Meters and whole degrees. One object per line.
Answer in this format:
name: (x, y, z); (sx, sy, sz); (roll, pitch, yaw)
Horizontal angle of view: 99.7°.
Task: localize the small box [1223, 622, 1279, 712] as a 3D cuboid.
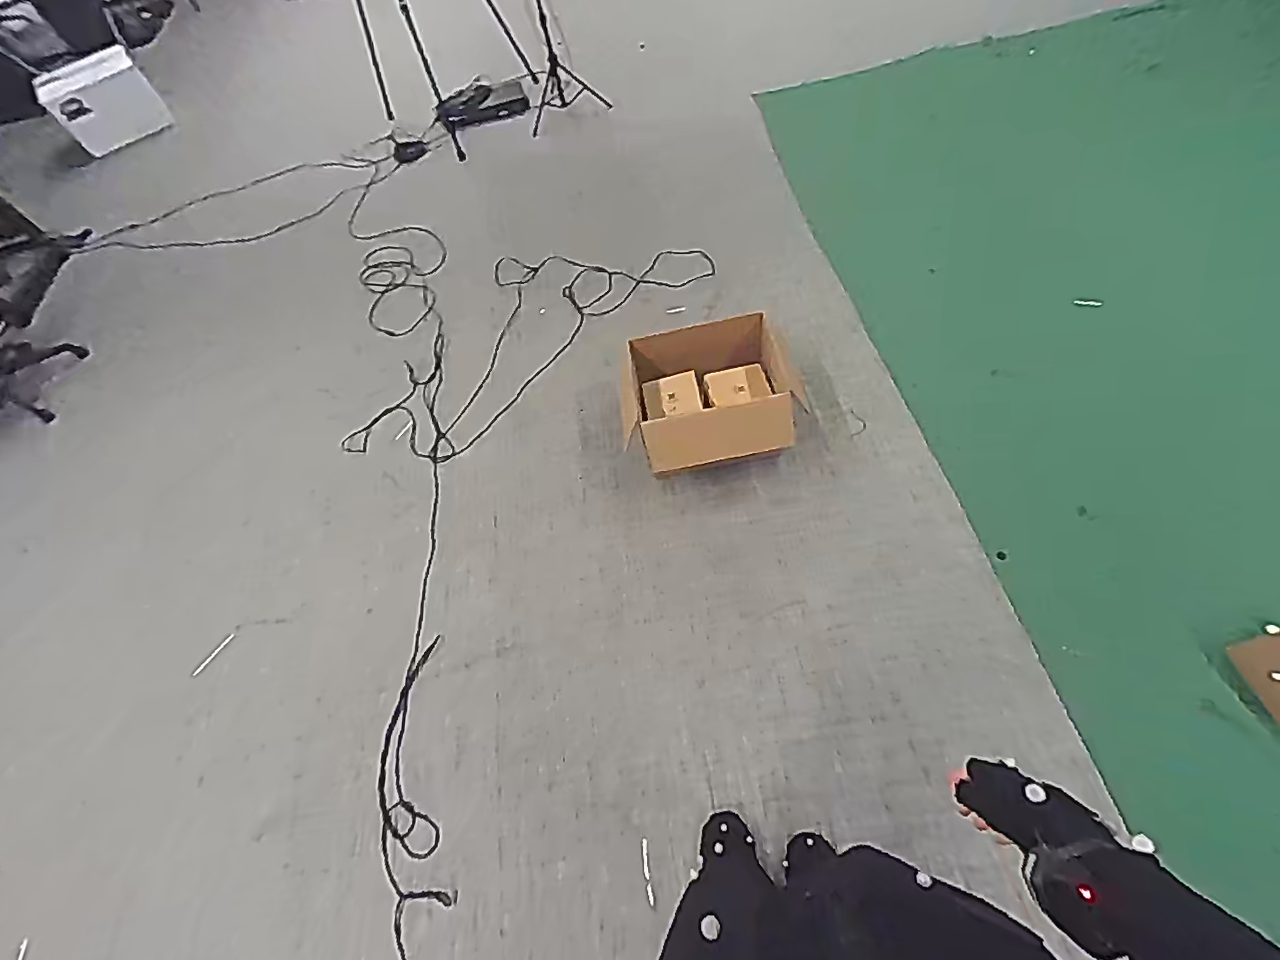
small box: (1.406, 0.382, 1.119); (0.168, 0.176, 0.179); (-14, 58, 2)
